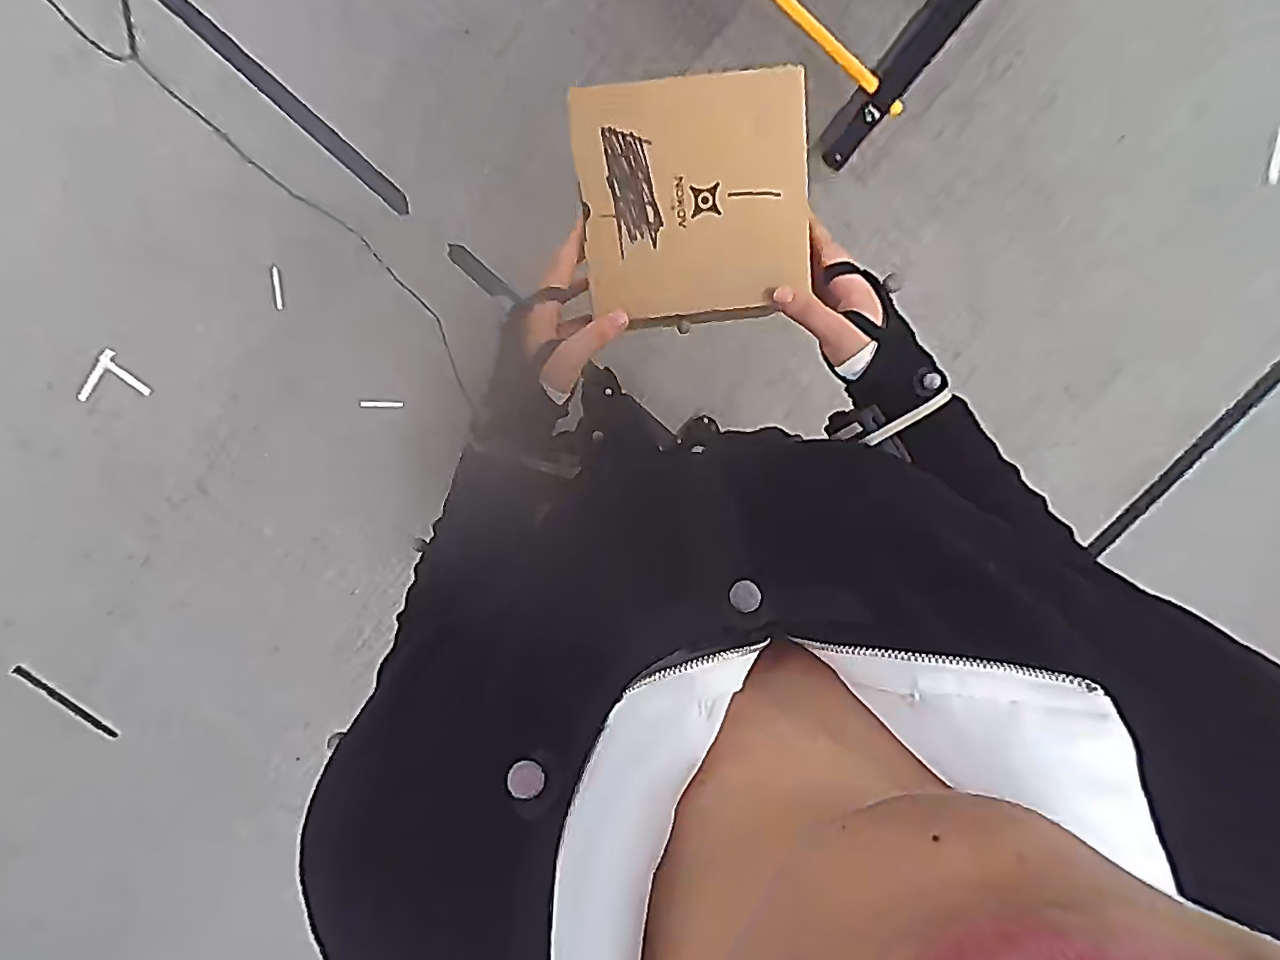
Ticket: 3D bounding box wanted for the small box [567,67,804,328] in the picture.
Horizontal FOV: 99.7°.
[{"bbox_3d":[0.039,-0.236,0.498,0.179,0.176,0.168,-6,102,1],"label":"small box"}]
